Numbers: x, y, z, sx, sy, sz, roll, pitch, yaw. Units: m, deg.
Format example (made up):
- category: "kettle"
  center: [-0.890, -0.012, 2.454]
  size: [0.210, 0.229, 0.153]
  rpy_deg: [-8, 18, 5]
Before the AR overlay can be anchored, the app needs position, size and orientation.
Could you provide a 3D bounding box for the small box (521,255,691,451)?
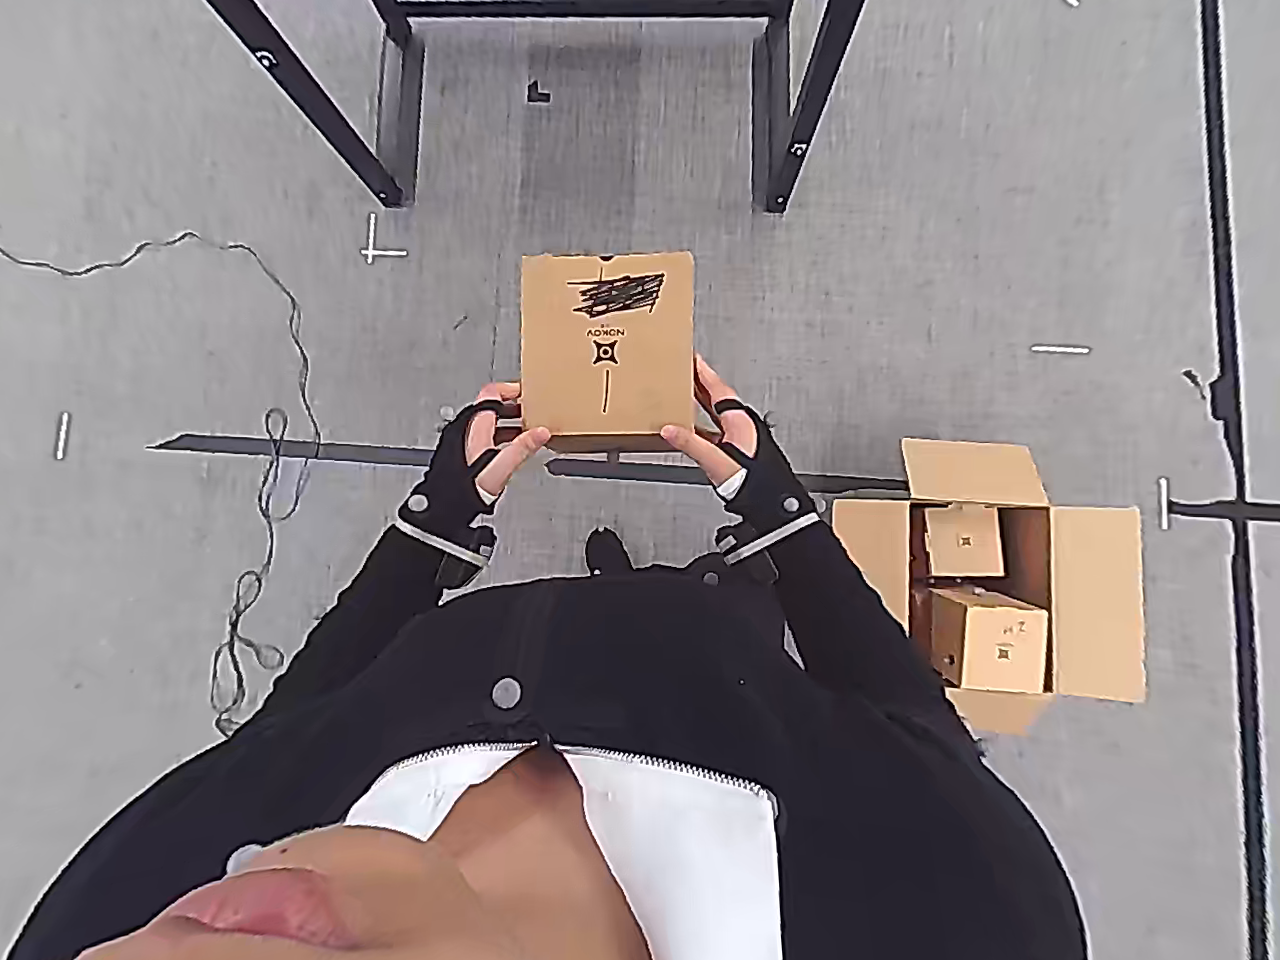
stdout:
- category: "small box"
  center: [-0.029, -0.127, 0.599]
  size: [0.168, 0.176, 0.179]
  rpy_deg: [-1, 89, 4]
